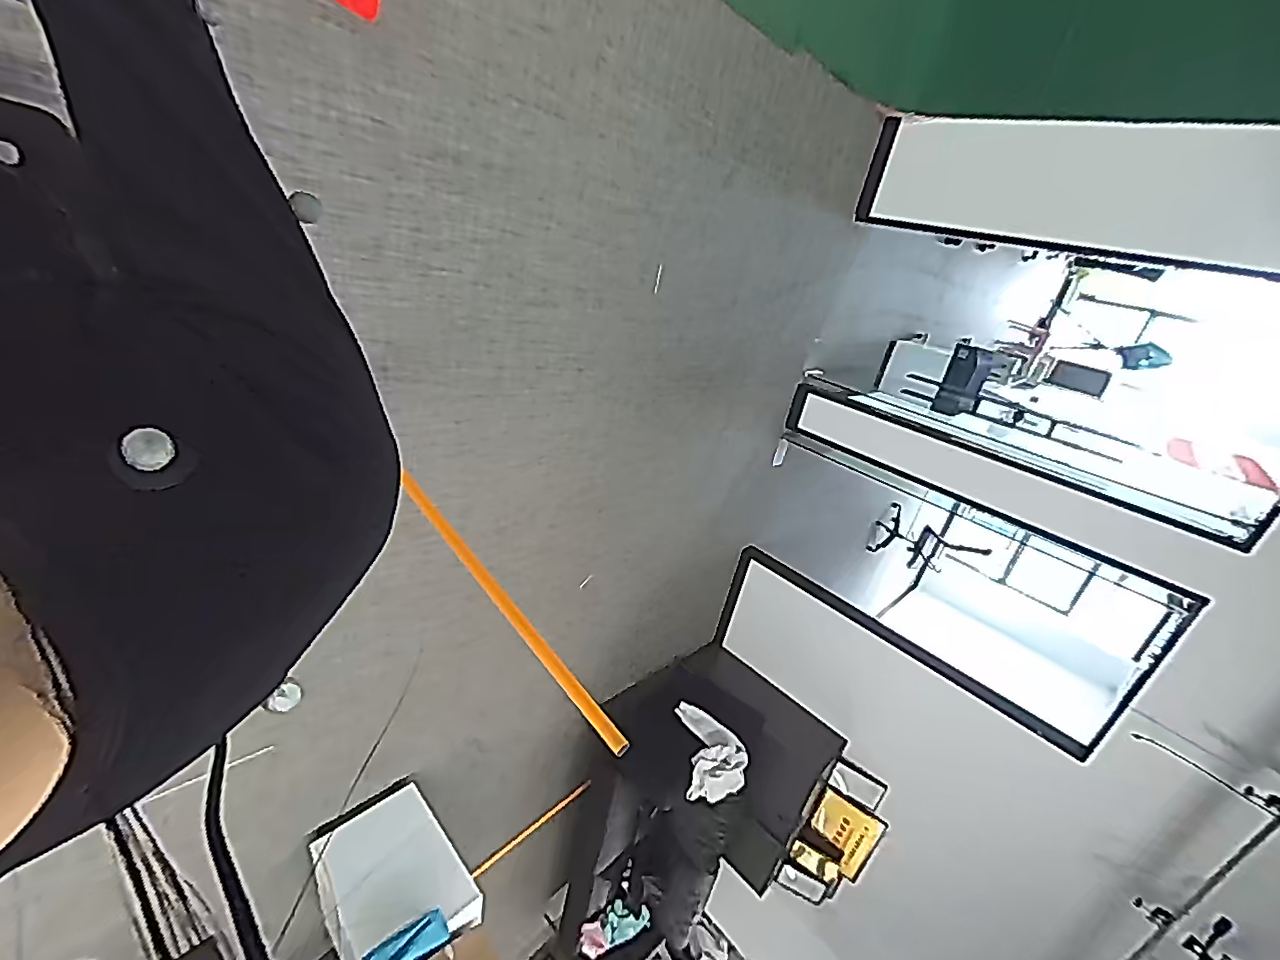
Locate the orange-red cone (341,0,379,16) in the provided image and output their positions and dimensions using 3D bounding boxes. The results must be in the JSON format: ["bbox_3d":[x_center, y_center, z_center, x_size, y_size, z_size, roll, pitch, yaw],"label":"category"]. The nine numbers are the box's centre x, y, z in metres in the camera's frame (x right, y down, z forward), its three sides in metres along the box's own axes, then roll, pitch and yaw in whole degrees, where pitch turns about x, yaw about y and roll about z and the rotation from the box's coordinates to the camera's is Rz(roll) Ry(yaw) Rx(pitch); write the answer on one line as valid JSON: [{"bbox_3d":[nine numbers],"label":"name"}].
[{"bbox_3d":[-0.488,-1.004,0.966,0.198,0.360,0.199,3,114,-50],"label":"orange-red cone"}]
